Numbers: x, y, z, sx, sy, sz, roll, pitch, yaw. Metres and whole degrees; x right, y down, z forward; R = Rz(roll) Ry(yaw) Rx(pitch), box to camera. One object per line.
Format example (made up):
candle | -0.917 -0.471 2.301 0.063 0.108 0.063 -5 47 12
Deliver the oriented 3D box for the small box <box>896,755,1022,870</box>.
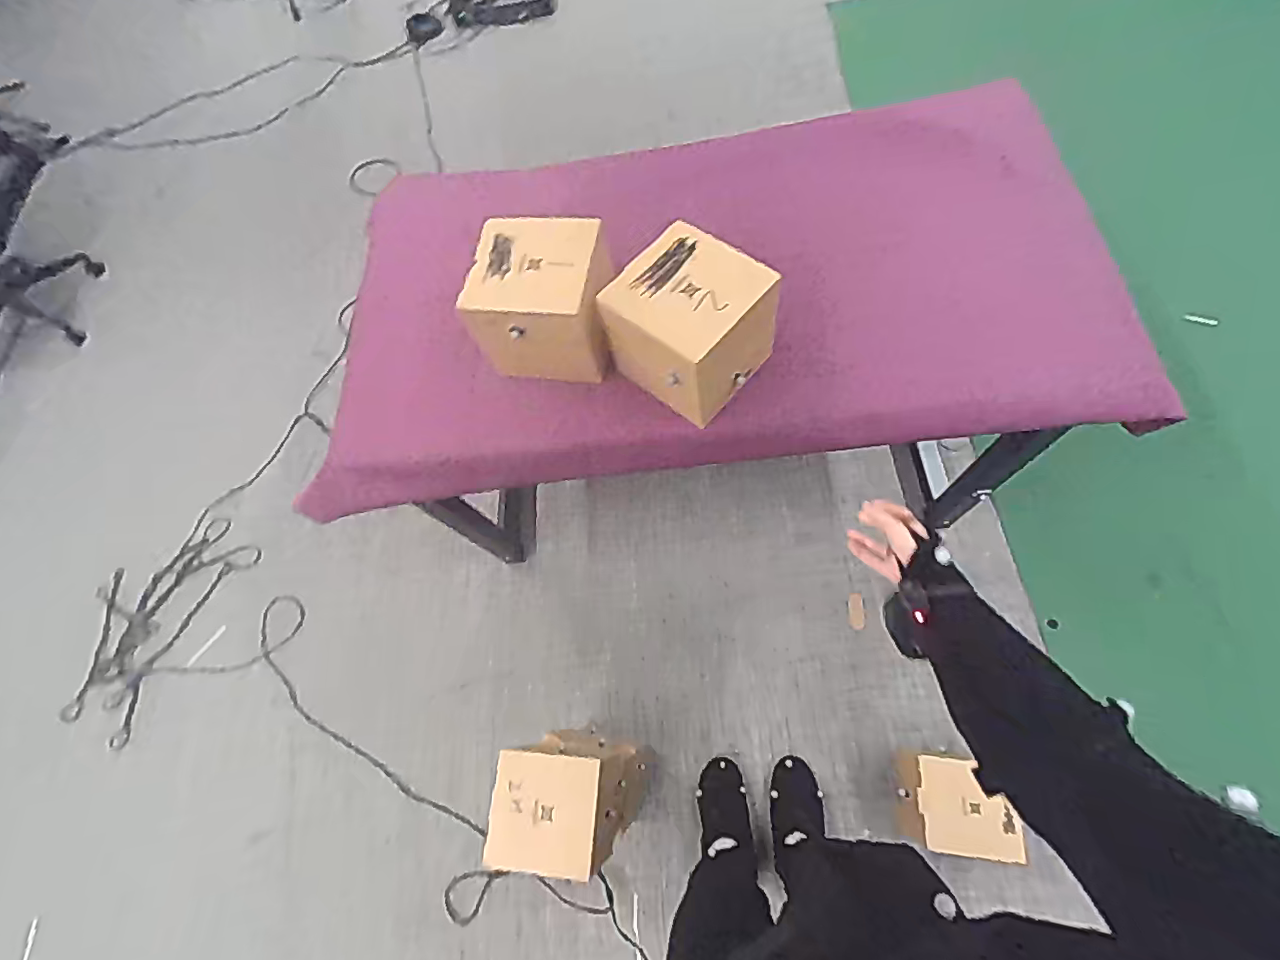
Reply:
small box | 0.636 0.667 1.105 0.179 0.176 0.168 2 68 11

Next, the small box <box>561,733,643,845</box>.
small box | -0.095 0.680 1.214 0.168 0.176 0.179 8 70 13

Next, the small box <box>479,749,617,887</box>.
small box | -0.142 0.557 0.915 0.179 0.176 0.168 1 66 11
